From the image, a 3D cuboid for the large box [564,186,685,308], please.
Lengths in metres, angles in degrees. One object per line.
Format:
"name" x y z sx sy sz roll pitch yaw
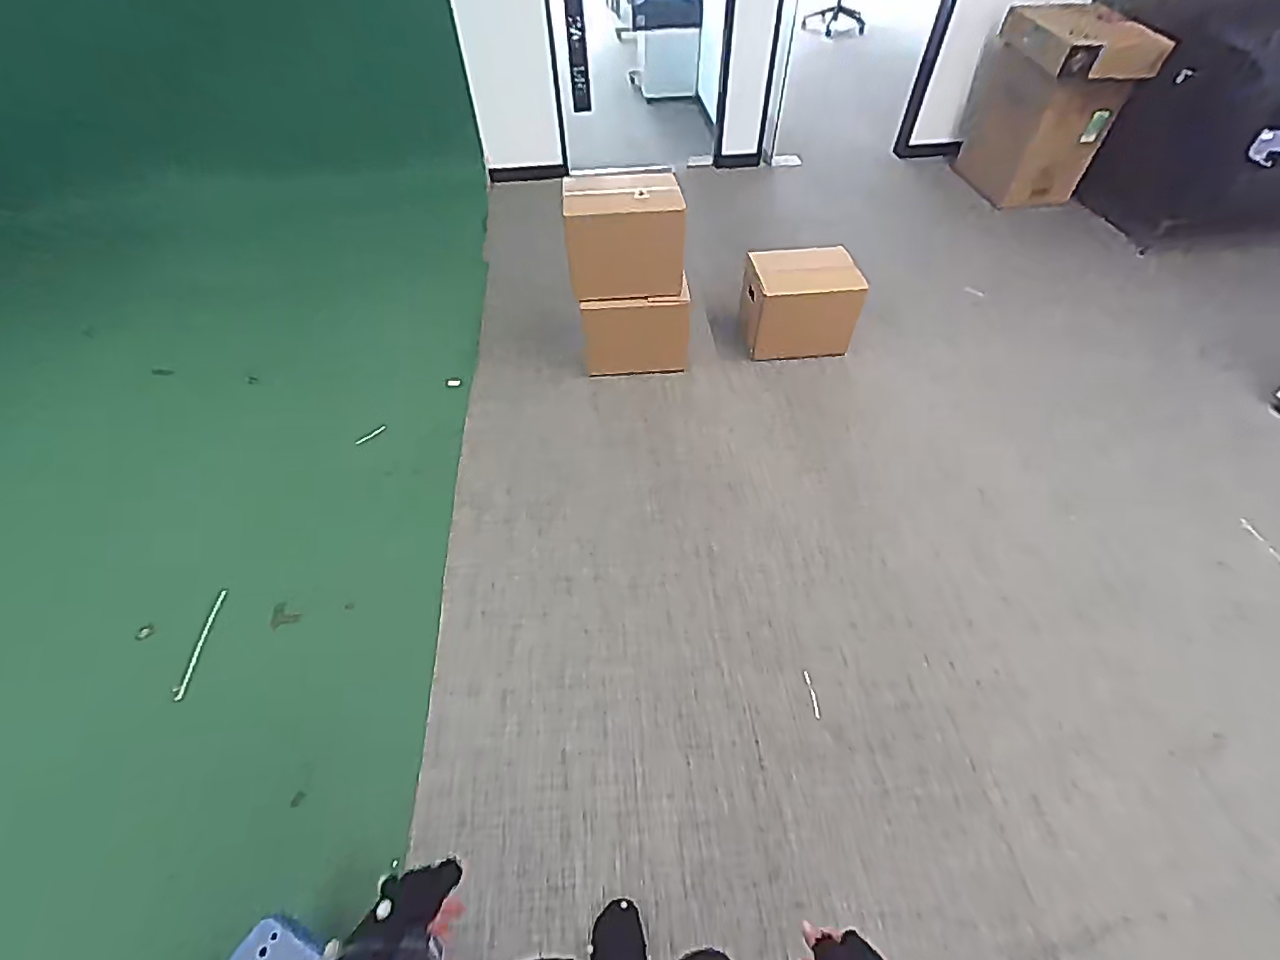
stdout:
"large box" -0.062 -0.849 1.969 0.408 0.320 0.320 -4 47 -3
